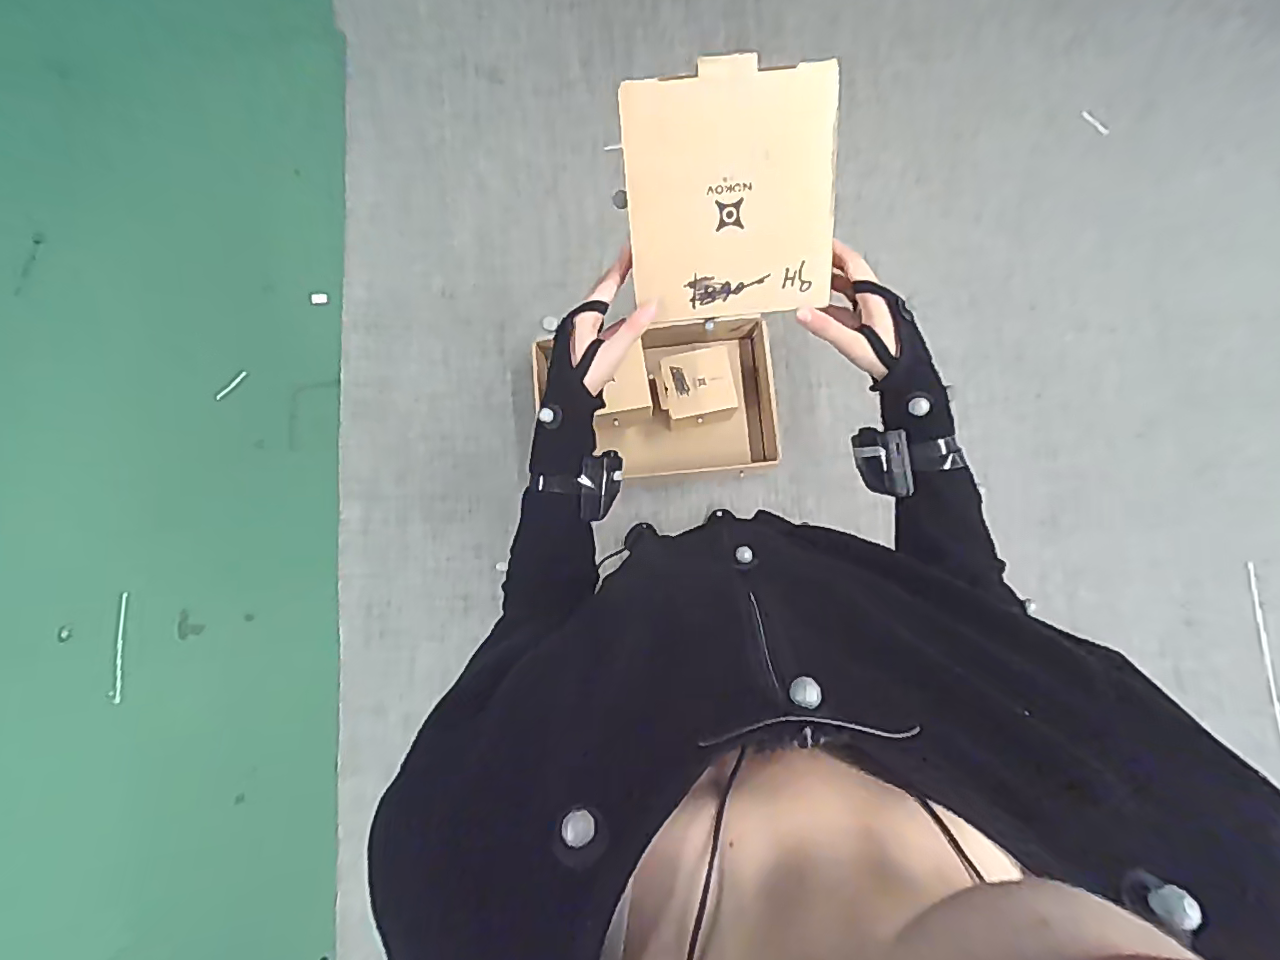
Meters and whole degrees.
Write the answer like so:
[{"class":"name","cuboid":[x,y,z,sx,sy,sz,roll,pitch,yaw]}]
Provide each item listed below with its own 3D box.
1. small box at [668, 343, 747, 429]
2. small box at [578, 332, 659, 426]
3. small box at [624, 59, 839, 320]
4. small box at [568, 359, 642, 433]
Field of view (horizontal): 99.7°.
[{"class":"small box","cuboid":[0.176,-0.242,1.439,0.179,0.176,0.168,-11,84,3]},{"class":"small box","cuboid":[-0.046,-0.231,1.289,0.168,0.176,0.179,-10,85,0]},{"class":"small box","cuboid":[0.076,-0.252,0.506,0.168,0.176,0.179,-5,112,4]},{"class":"small box","cuboid":[-0.087,-0.229,1.455,0.179,0.176,0.168,-8,85,1]}]
